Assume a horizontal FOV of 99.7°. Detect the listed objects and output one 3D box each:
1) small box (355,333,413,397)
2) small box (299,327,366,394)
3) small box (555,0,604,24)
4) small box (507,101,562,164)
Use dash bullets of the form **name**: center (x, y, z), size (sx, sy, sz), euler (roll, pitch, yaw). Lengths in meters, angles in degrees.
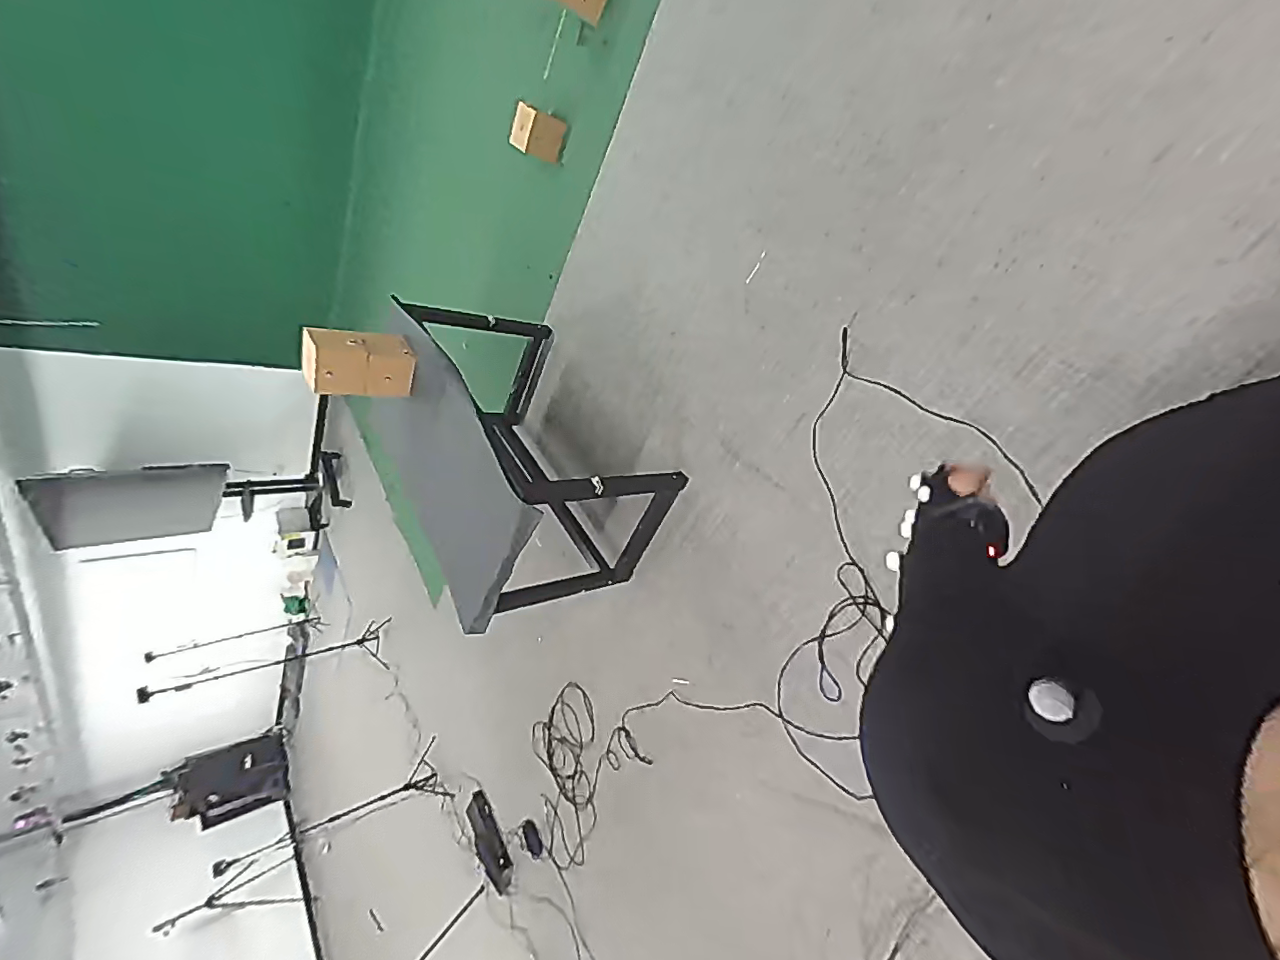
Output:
- **small box**: center (-0.965, -0.428, 2.017), size (0.168, 0.176, 0.179), euler (49, 129, 31)
- **small box**: center (-1.082, -0.416, 1.905), size (0.168, 0.176, 0.179), euler (45, 125, 32)
- **small box**: center (-0.253, -2.009, 2.201), size (0.168, 0.176, 0.179), euler (-53, 57, 34)
- **small box**: center (-0.481, -1.583, 2.470), size (0.168, 0.176, 0.179), euler (48, 125, 31)
